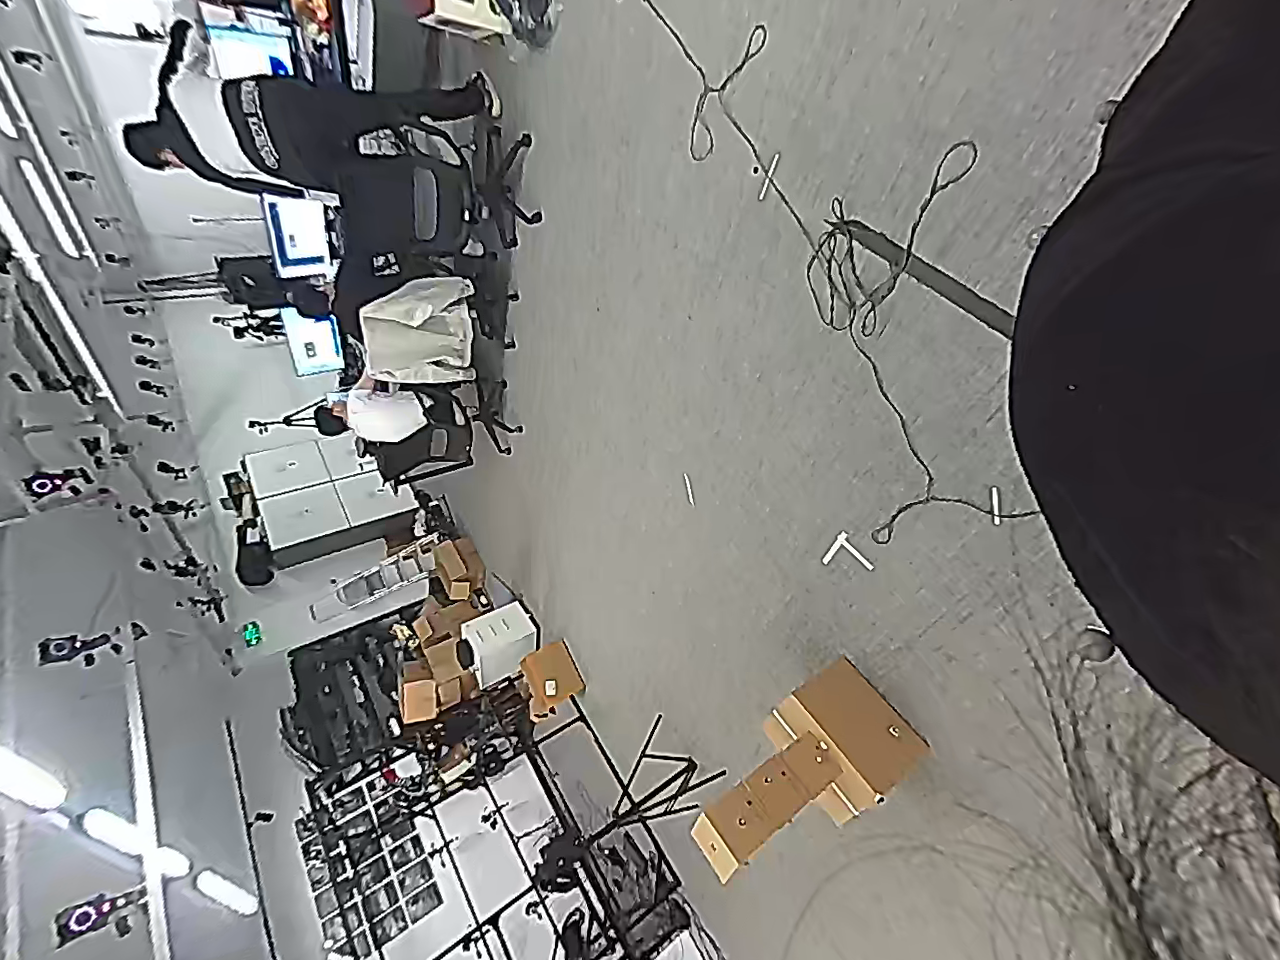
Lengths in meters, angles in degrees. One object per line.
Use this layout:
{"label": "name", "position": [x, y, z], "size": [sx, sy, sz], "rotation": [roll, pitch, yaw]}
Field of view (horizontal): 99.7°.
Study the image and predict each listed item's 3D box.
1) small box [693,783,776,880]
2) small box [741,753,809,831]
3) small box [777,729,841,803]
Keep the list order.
{"label": "small box", "position": [0.295, 1.085, 1.681], "size": [0.168, 0.176, 0.179], "rotation": [46, 140, 36]}
{"label": "small box", "position": [0.426, 1.034, 1.769], "size": [0.168, 0.176, 0.179], "rotation": [49, 142, 32]}
{"label": "small box", "position": [0.556, 0.996, 1.857], "size": [0.168, 0.176, 0.179], "rotation": [48, 141, 31]}
